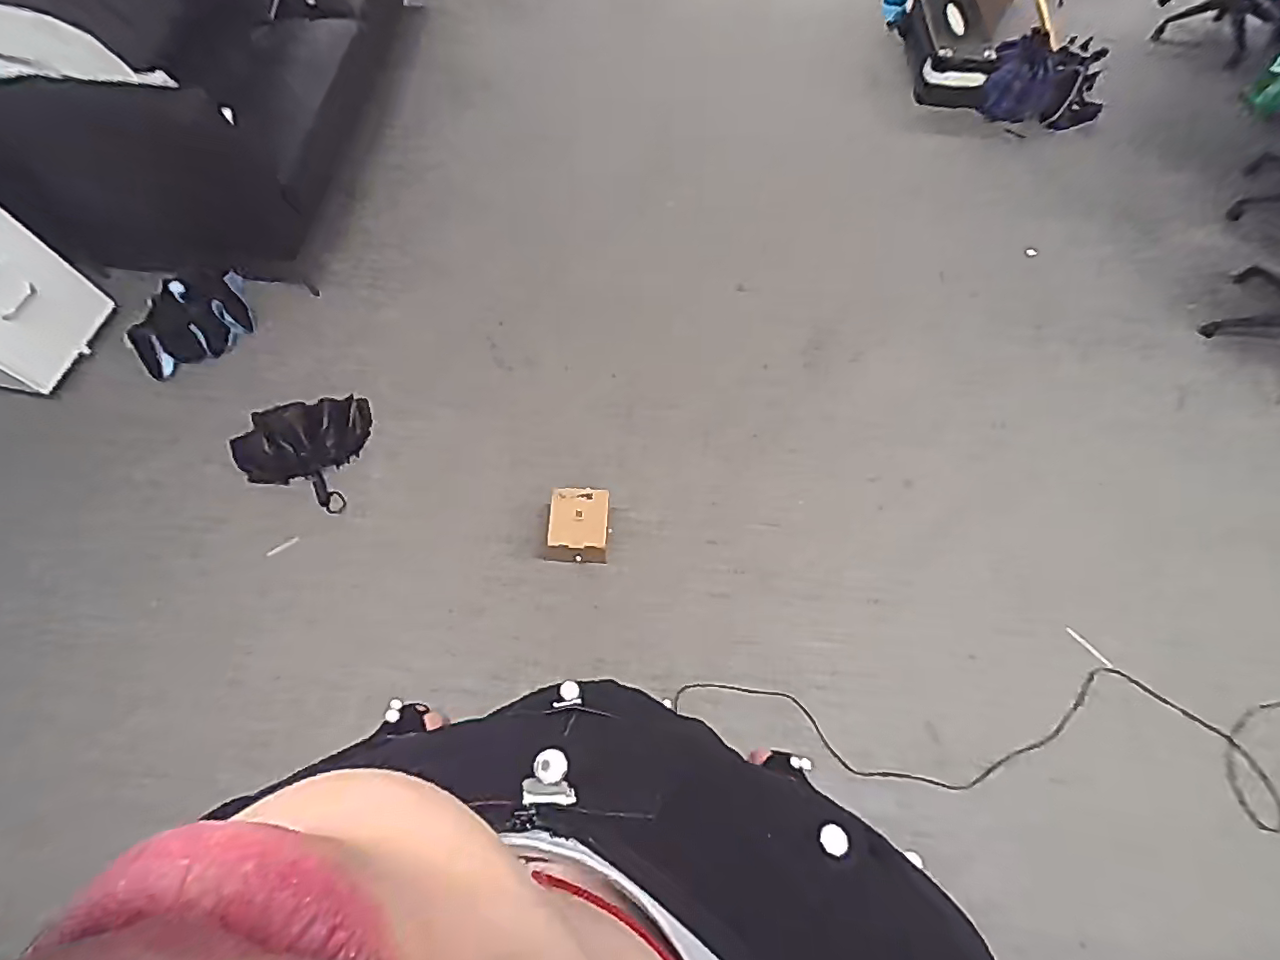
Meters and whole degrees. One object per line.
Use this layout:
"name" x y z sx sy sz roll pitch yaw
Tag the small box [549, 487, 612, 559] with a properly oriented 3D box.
"small box" -0.173 0.134 1.623 0.168 0.176 0.179 2 68 0
